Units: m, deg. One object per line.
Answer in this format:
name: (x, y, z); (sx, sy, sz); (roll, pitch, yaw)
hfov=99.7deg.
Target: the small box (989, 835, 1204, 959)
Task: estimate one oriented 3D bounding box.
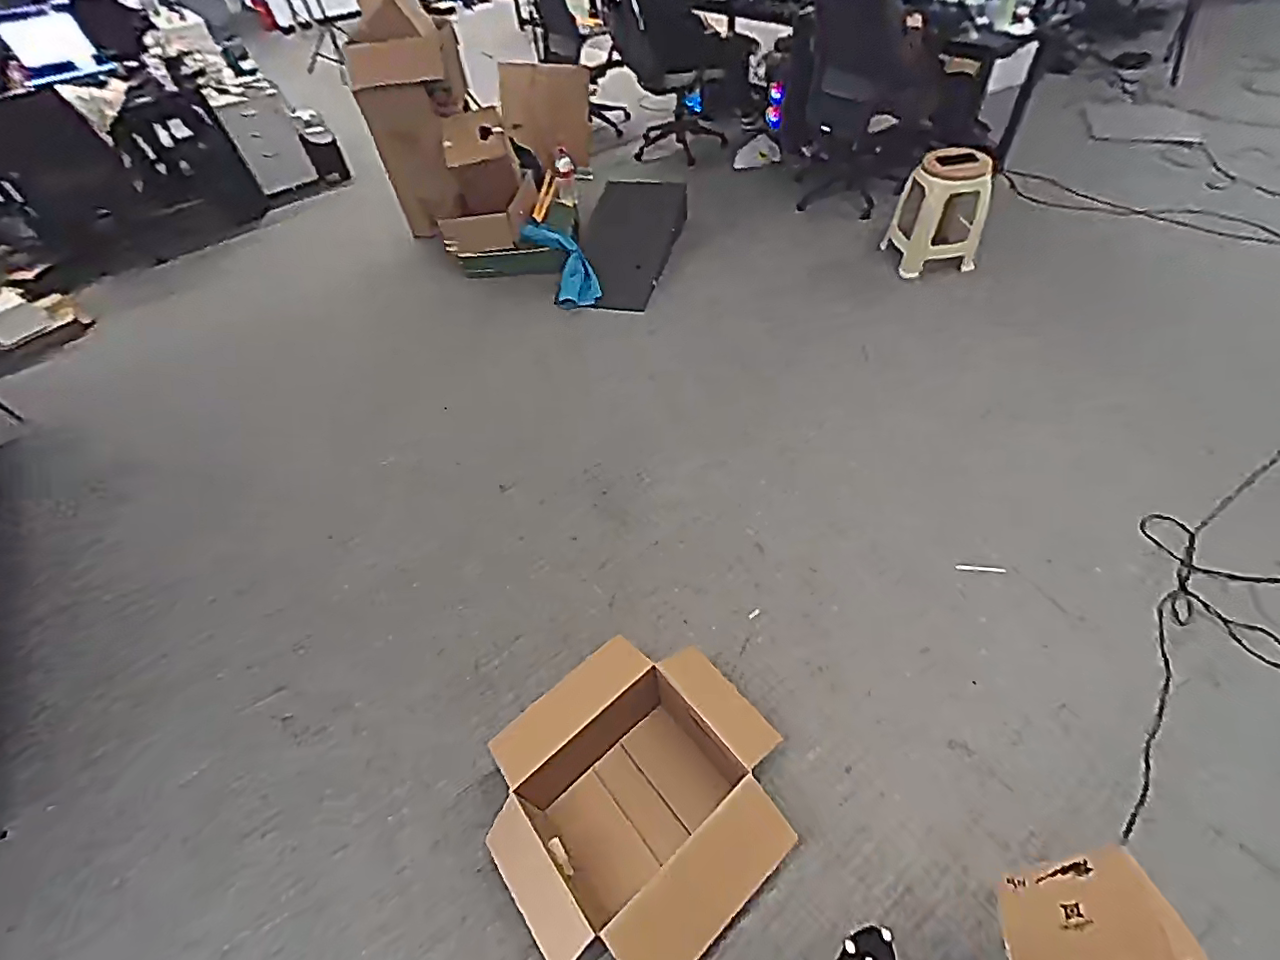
small box: (0.551, 0.571, 0.633); (0.176, 0.168, 0.179); (57, 28, 5)
